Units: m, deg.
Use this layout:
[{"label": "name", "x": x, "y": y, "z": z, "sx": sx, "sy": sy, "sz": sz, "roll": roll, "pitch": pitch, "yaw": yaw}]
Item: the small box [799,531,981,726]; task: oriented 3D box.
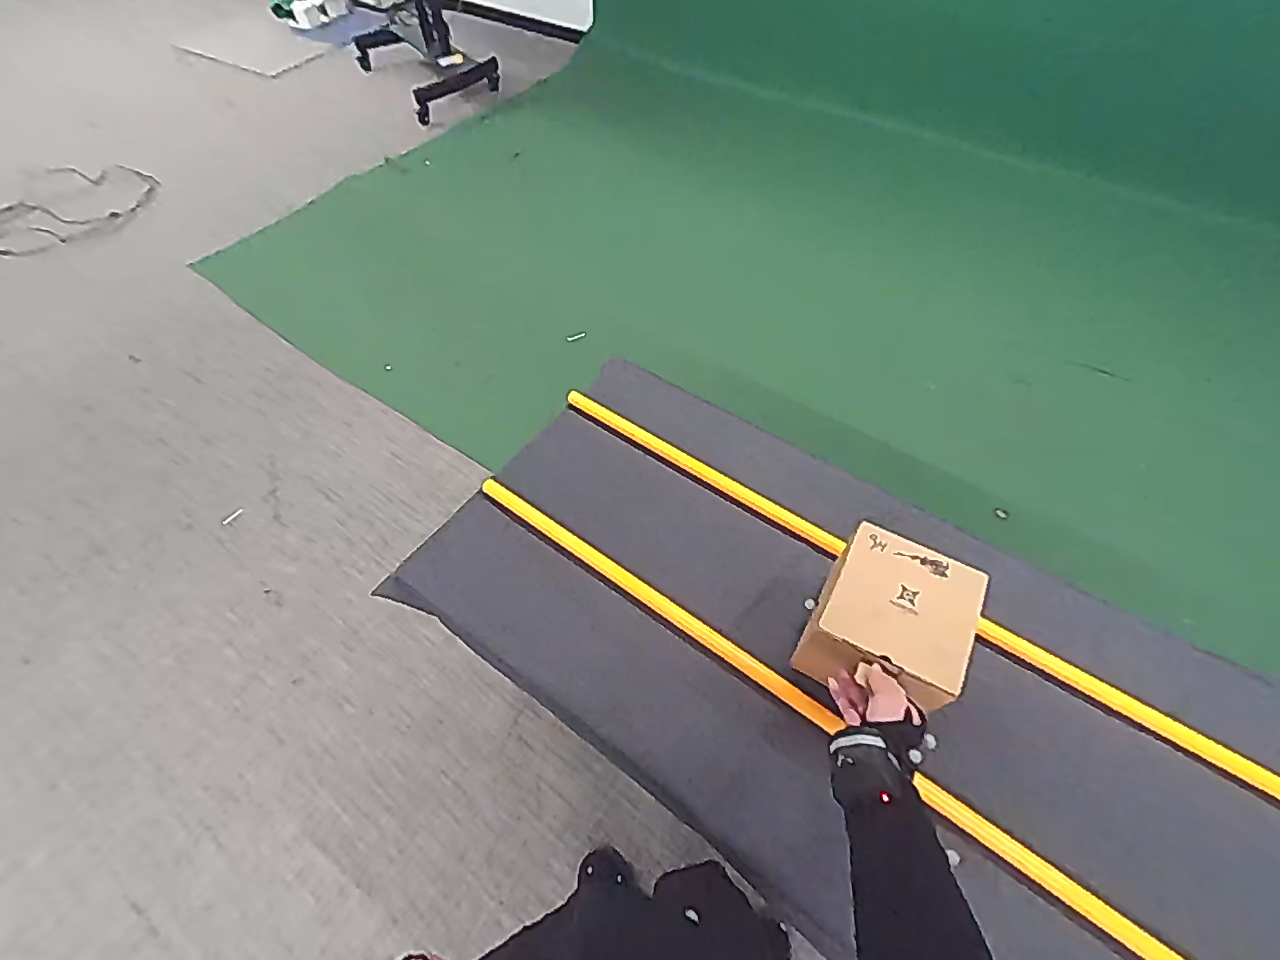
[{"label": "small box", "x": 0.328, "y": 0.207, "z": 0.737, "sx": 0.168, "sy": 0.176, "sz": 0.179, "roll": 22, "pitch": 58, "yaw": 18}]
